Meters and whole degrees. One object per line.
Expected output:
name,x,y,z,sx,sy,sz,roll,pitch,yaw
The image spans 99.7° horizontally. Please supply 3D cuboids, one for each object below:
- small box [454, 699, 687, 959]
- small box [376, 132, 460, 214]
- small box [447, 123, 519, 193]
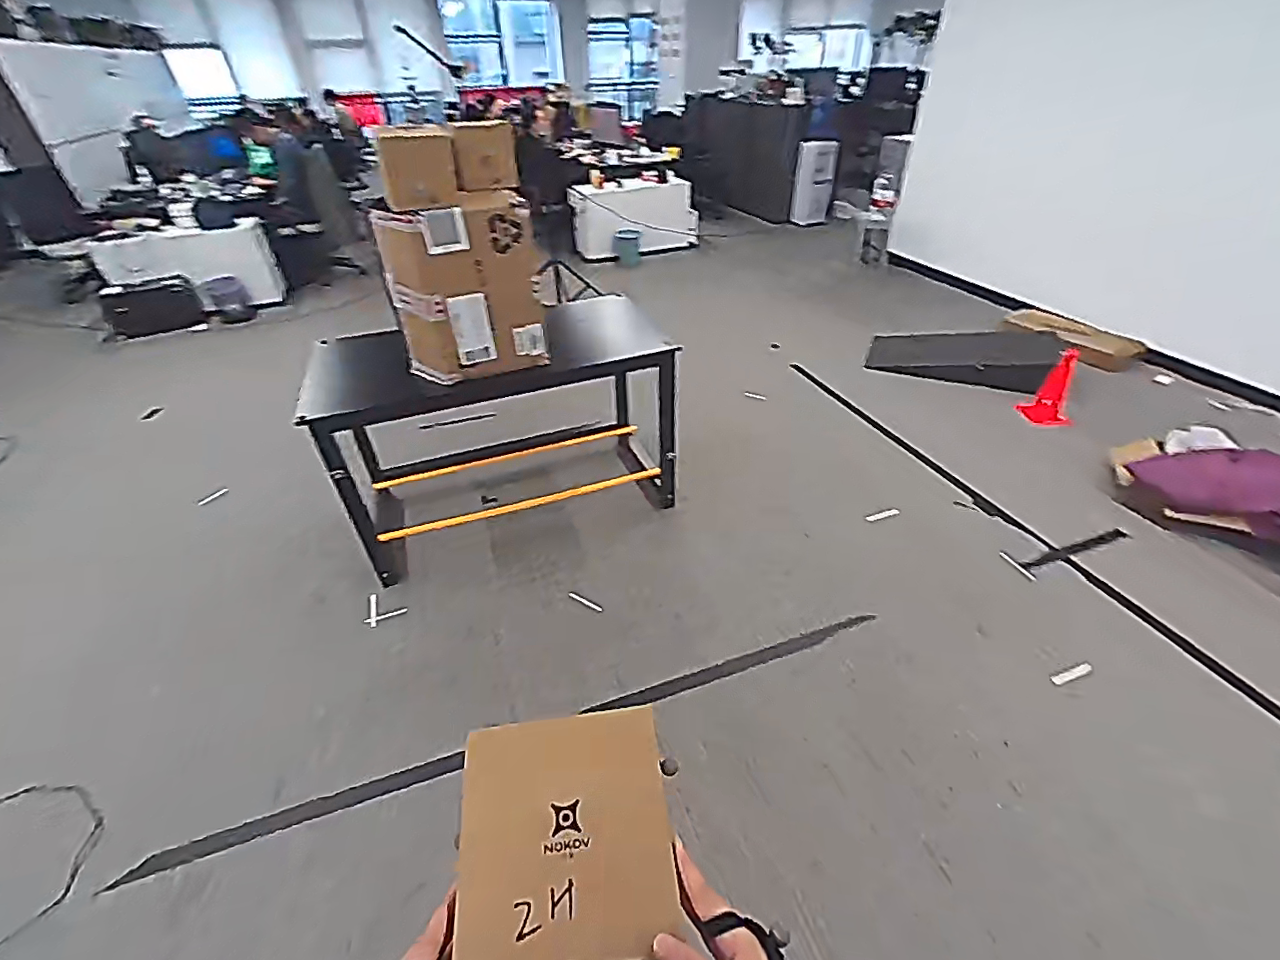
small box,-0.057,0.324,0.488,0.168,0.176,0.179,-7,49,-5
small box,-0.587,-0.814,1.432,0.168,0.176,0.179,-16,42,-20
small box,-0.481,-0.989,1.664,0.168,0.176,0.179,-15,39,-20
